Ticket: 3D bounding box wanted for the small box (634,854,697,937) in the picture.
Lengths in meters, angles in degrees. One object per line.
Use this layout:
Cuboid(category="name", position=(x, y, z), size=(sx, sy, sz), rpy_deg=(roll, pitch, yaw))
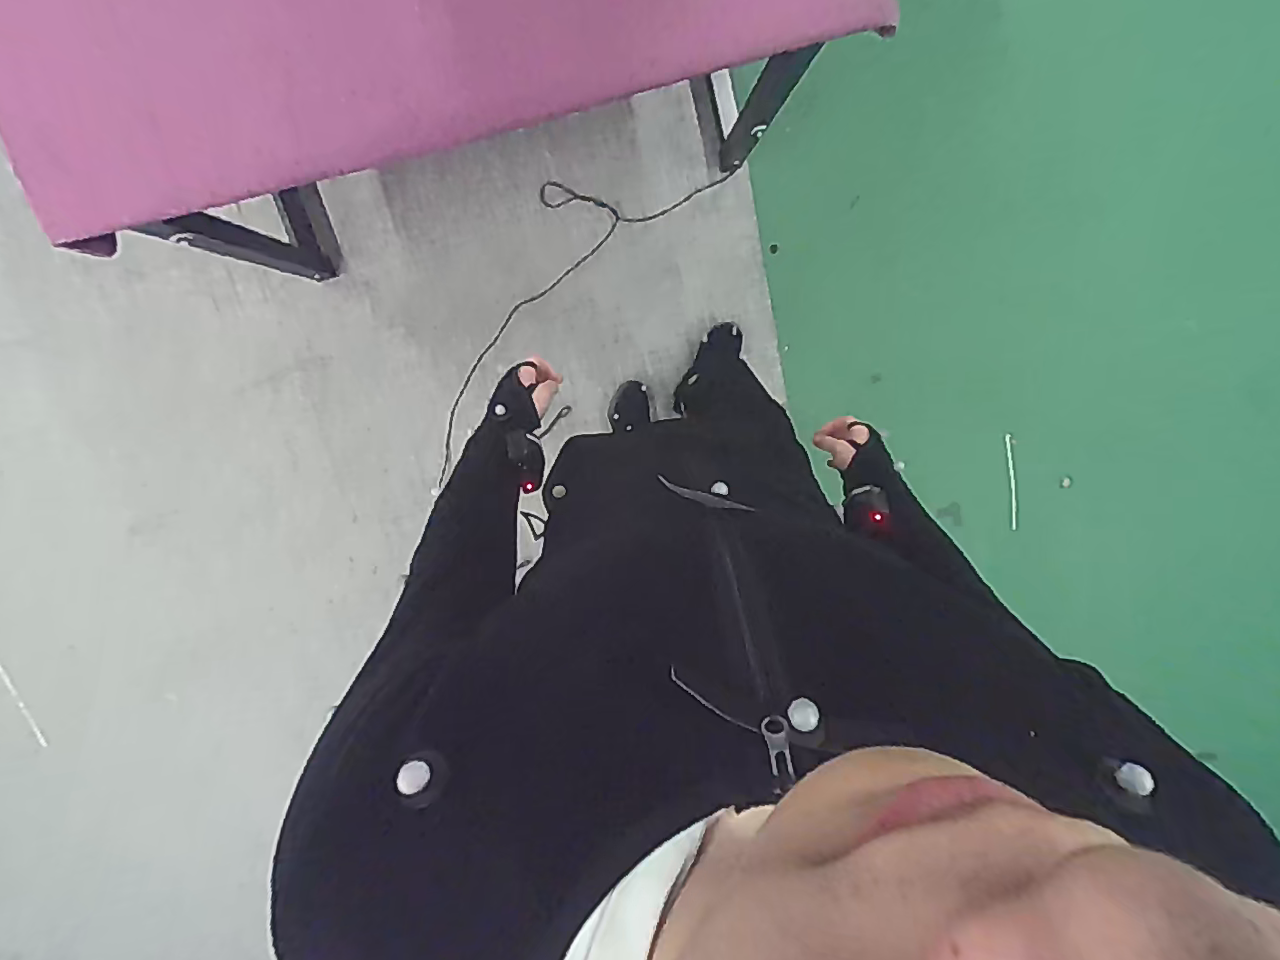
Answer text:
Cuboid(category="small box", position=(0.083, 1.435, 1.844), size=(0.168, 0.176, 0.179), rpy_deg=(-20, 102, 1))
